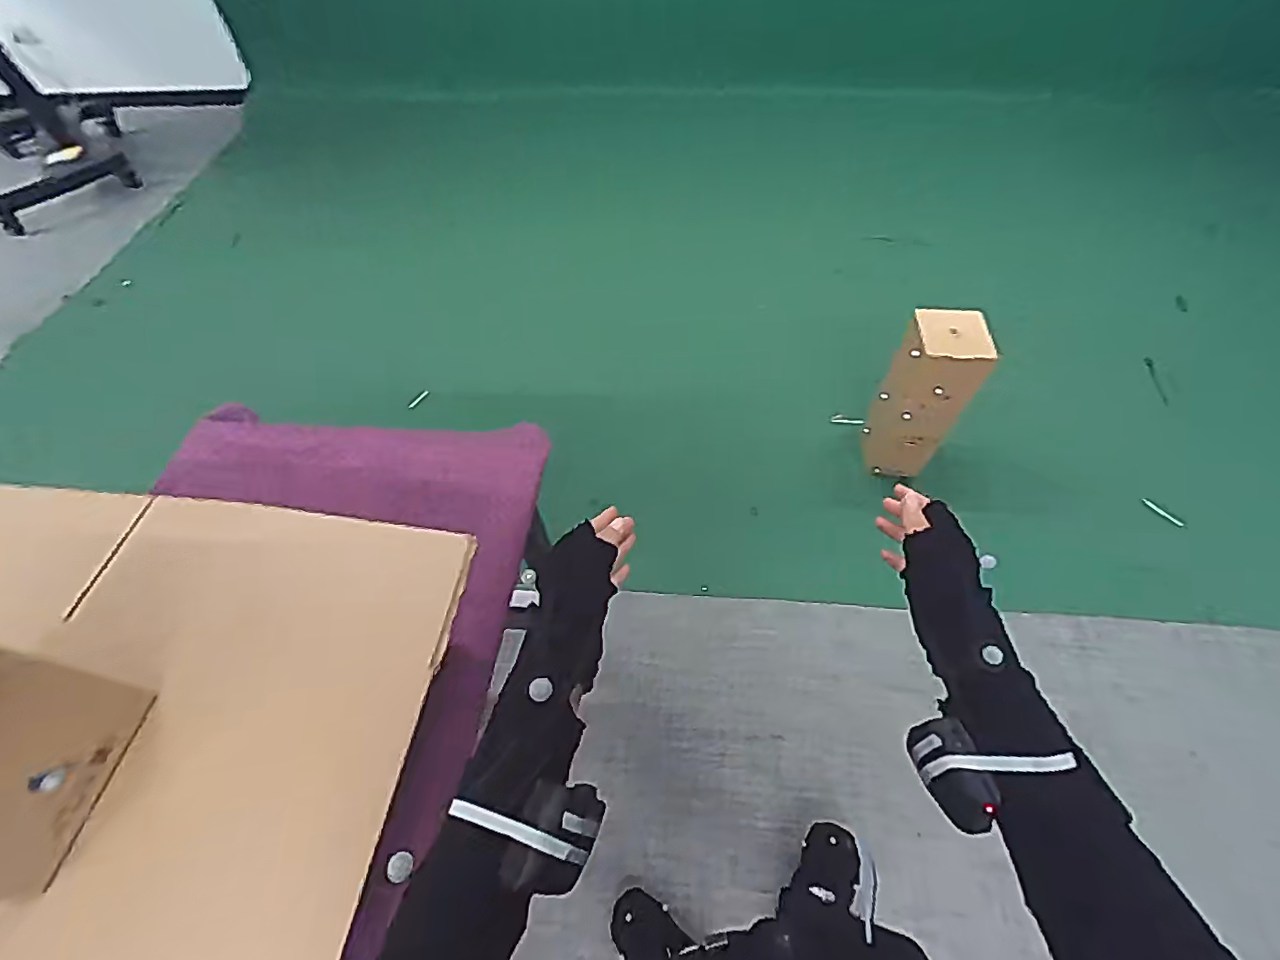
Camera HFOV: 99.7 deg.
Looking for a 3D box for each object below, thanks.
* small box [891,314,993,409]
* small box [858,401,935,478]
[{"bbox_3d":[0.778,-0.310,1.417,0.168,0.176,0.179,3,56,5],"label":"small box"},{"bbox_3d":[0.792,-0.122,1.685,0.168,0.176,0.179,5,56,6],"label":"small box"}]
